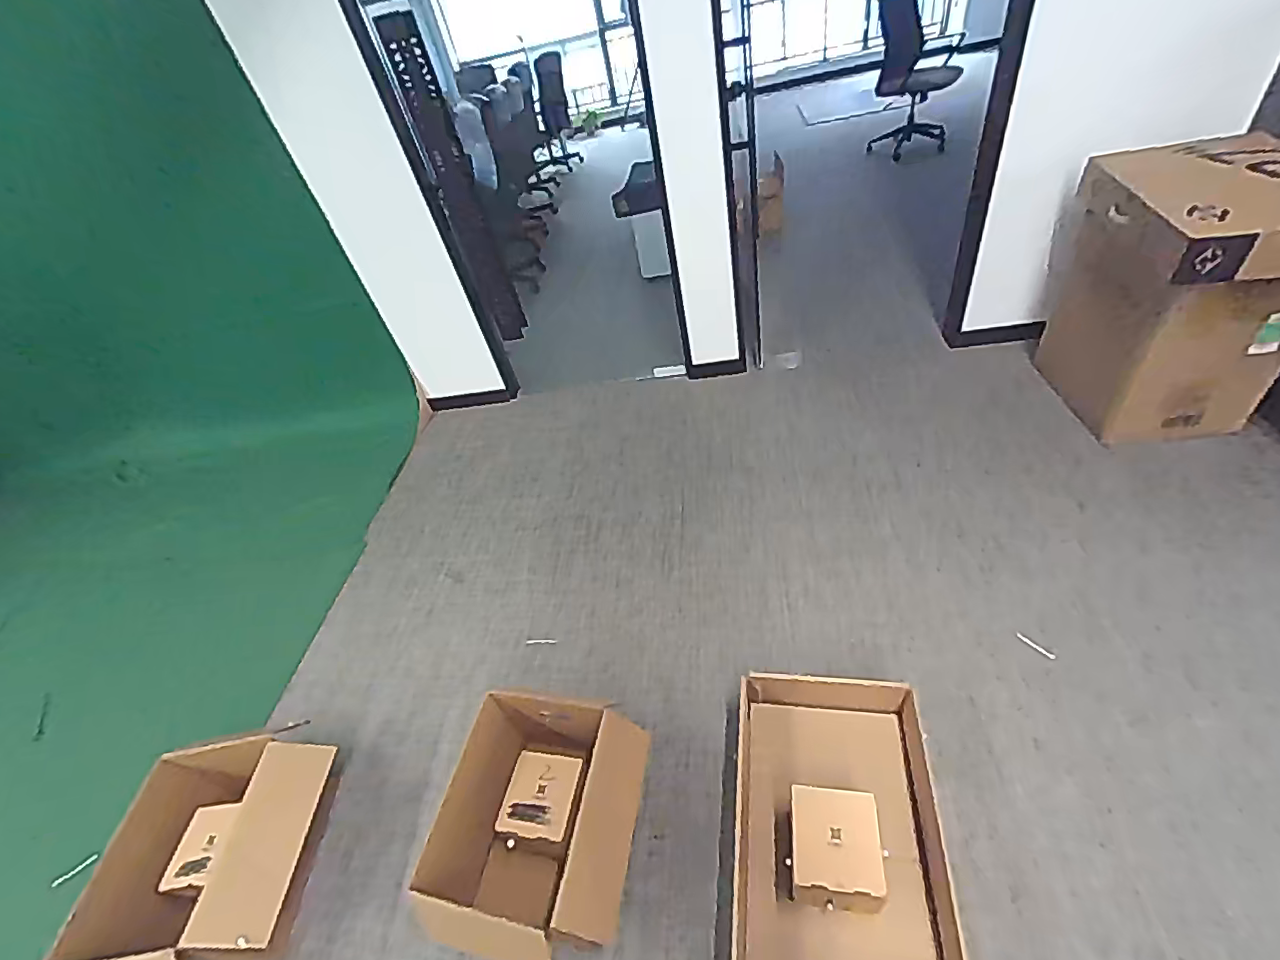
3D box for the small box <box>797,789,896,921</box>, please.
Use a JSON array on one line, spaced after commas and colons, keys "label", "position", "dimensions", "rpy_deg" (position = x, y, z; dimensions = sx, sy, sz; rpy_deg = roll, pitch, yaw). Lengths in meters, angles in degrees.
[{"label": "small box", "position": [0.410, 0.762, 1.102], "dimensions": [0.168, 0.176, 0.179], "rpy_deg": [-2, 43, 14]}]
